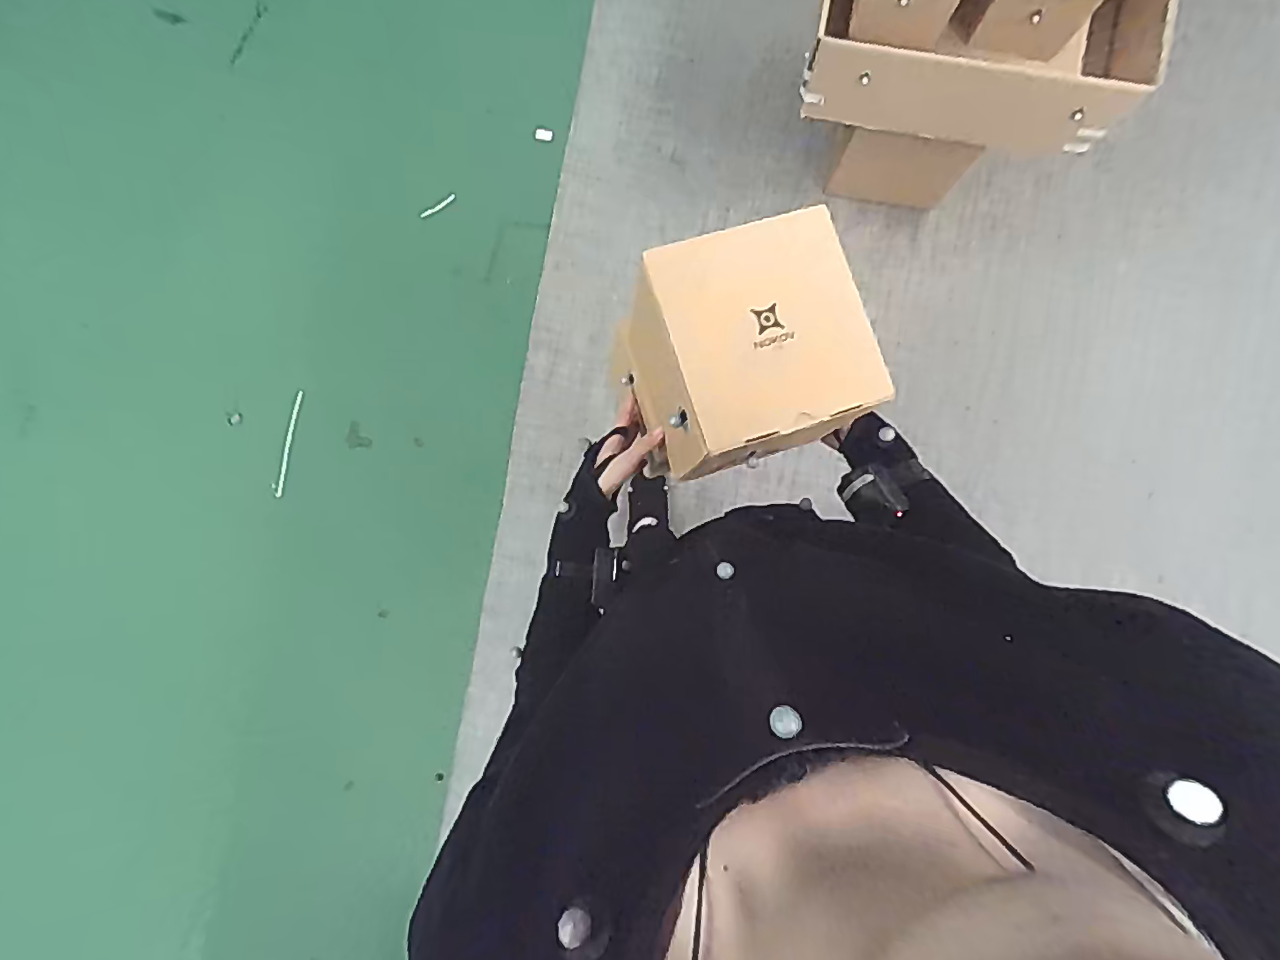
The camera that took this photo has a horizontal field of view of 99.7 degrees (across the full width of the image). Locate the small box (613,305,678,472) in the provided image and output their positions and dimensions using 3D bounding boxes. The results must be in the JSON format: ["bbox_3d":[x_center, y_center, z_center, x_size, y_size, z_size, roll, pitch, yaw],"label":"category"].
[{"bbox_3d":[0.072,-0.117,0.664,0.179,0.176,0.168,-16,83,-7],"label":"small box"}]

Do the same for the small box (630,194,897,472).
[{"bbox_3d":[0.093,-0.120,0.500,0.168,0.176,0.179,-17,84,-7],"label":"small box"}]
